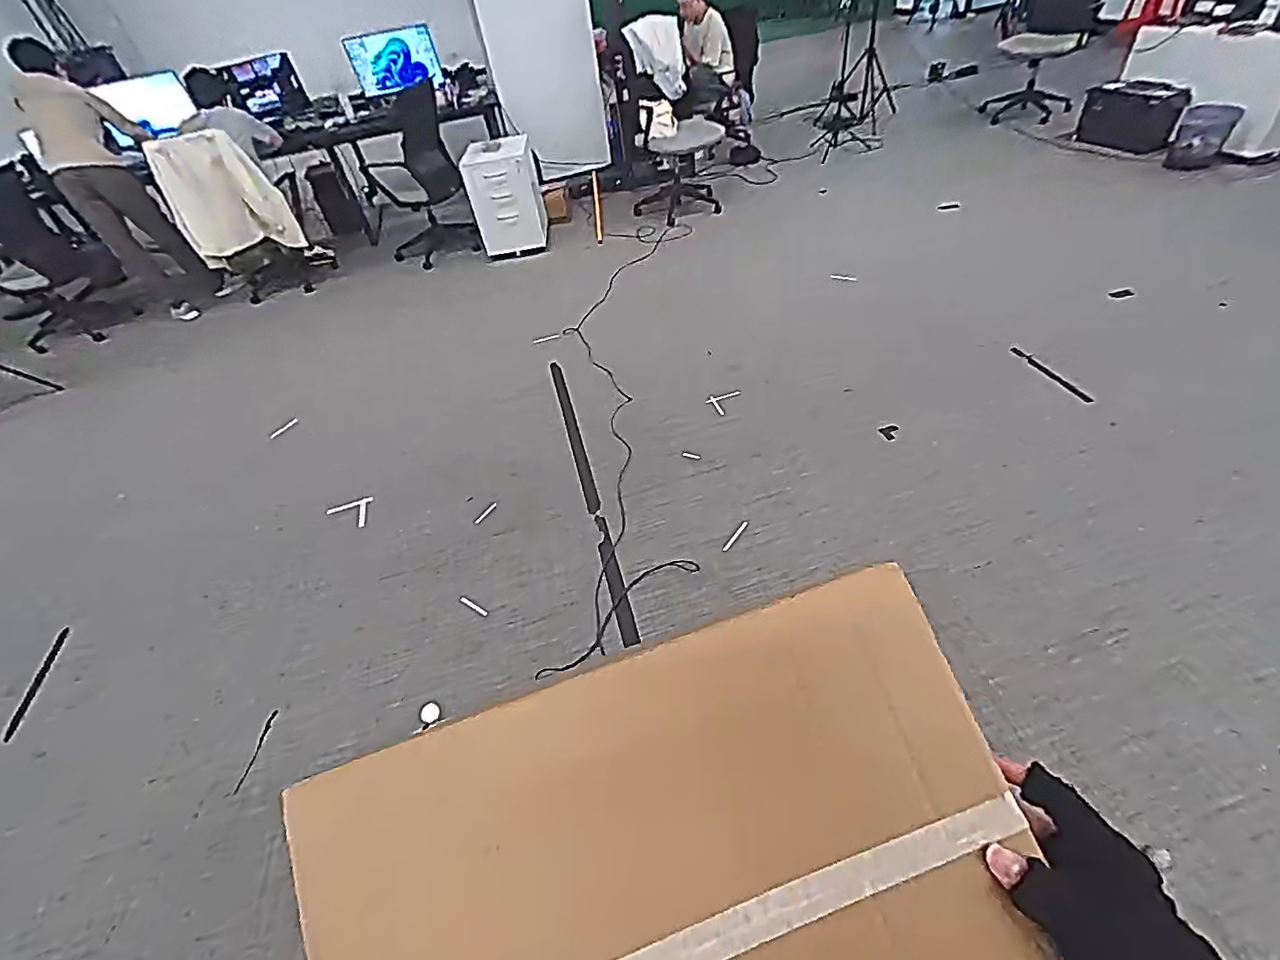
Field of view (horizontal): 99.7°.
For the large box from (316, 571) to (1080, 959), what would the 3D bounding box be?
[{"bbox_3d":[0.036,0.307,0.453,0.408,0.320,0.320,-19,76,-5],"label":"large box"}]
